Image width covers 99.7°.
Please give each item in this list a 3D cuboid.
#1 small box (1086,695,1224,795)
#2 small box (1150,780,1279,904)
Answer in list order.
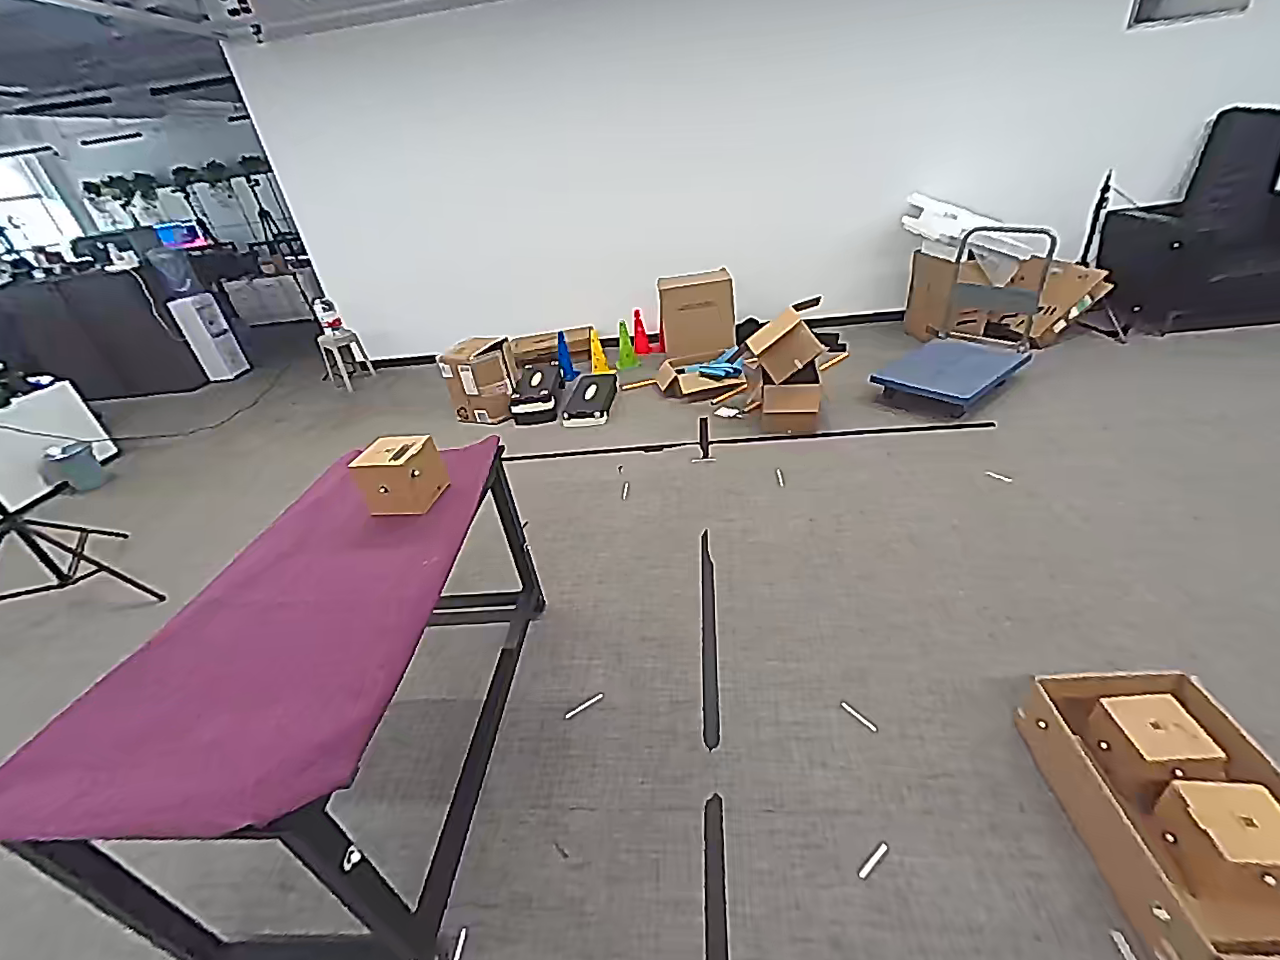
[{"bbox_3d":[1.268,0.665,1.353,0.179,0.176,0.168,-5,34,5],"label":"small box"},{"bbox_3d":[1.276,0.782,1.169,0.179,0.176,0.168,-2,32,11],"label":"small box"}]
